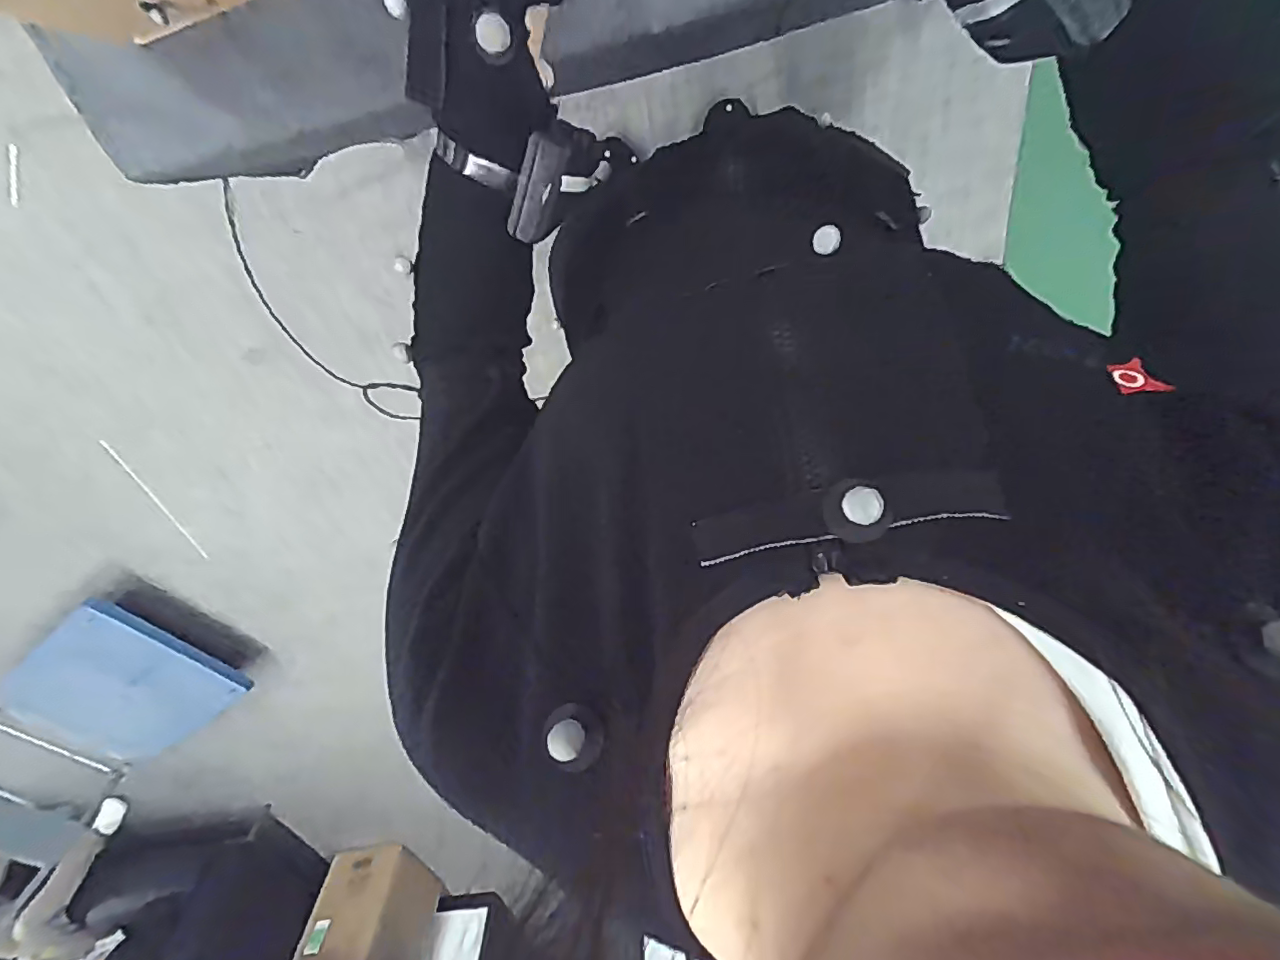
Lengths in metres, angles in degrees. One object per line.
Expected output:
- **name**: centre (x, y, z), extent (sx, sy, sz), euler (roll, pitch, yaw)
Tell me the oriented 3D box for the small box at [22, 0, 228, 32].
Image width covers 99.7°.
- **small box**: centre (-0.429, -0.469, 0.393), extent (0.168, 0.176, 0.179), euler (-13, 122, 7)
